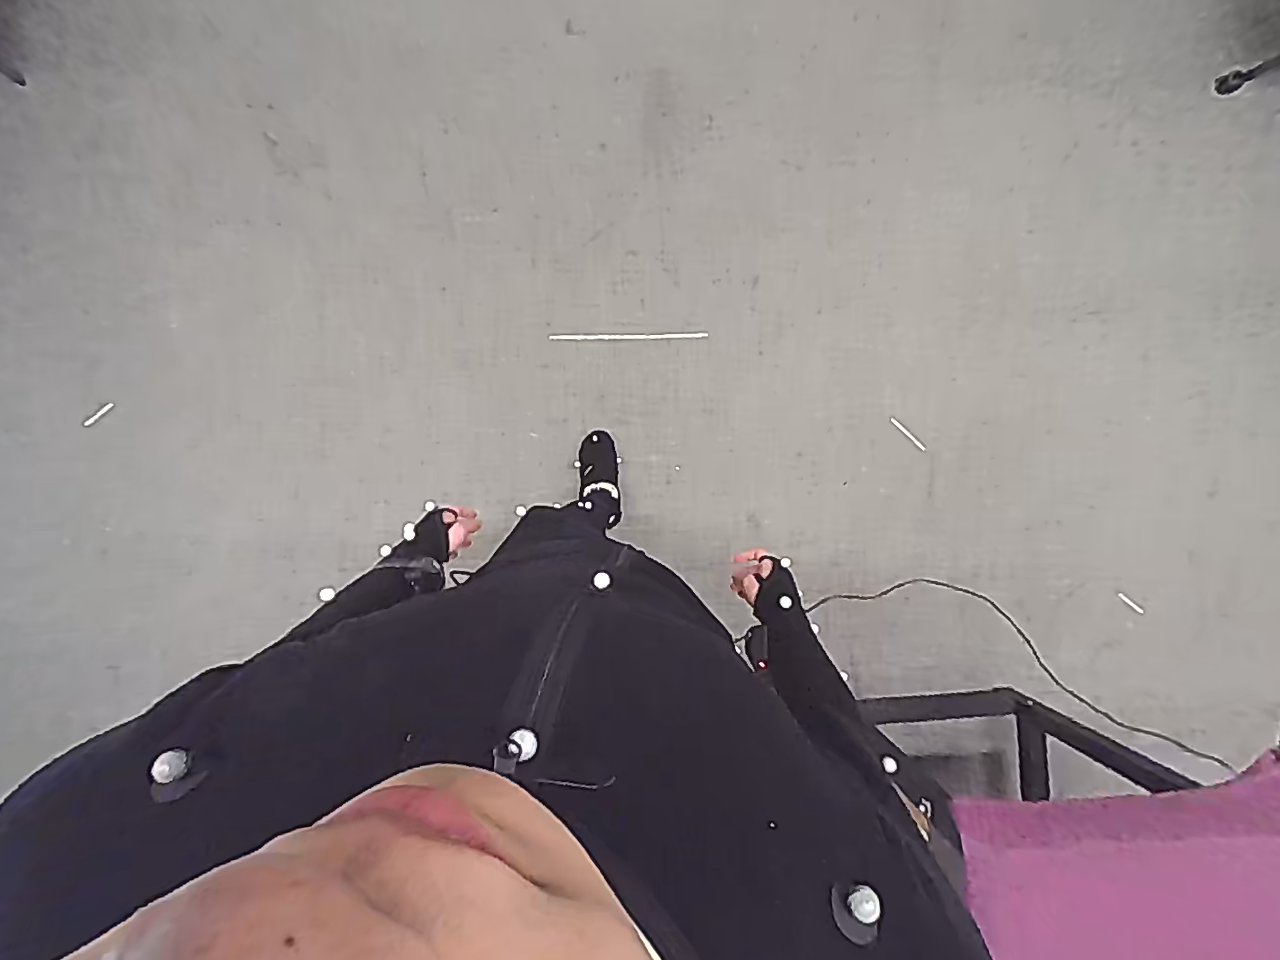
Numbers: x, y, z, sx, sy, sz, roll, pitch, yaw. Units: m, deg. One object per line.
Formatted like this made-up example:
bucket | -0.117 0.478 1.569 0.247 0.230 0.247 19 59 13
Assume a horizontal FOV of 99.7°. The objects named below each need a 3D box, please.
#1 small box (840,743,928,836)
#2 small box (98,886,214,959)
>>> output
small box | 0.693 0.886 1.560 0.179 0.176 0.168 -7 90 -3
small box | -1.318 1.255 1.480 0.179 0.176 0.168 -2 90 -3
